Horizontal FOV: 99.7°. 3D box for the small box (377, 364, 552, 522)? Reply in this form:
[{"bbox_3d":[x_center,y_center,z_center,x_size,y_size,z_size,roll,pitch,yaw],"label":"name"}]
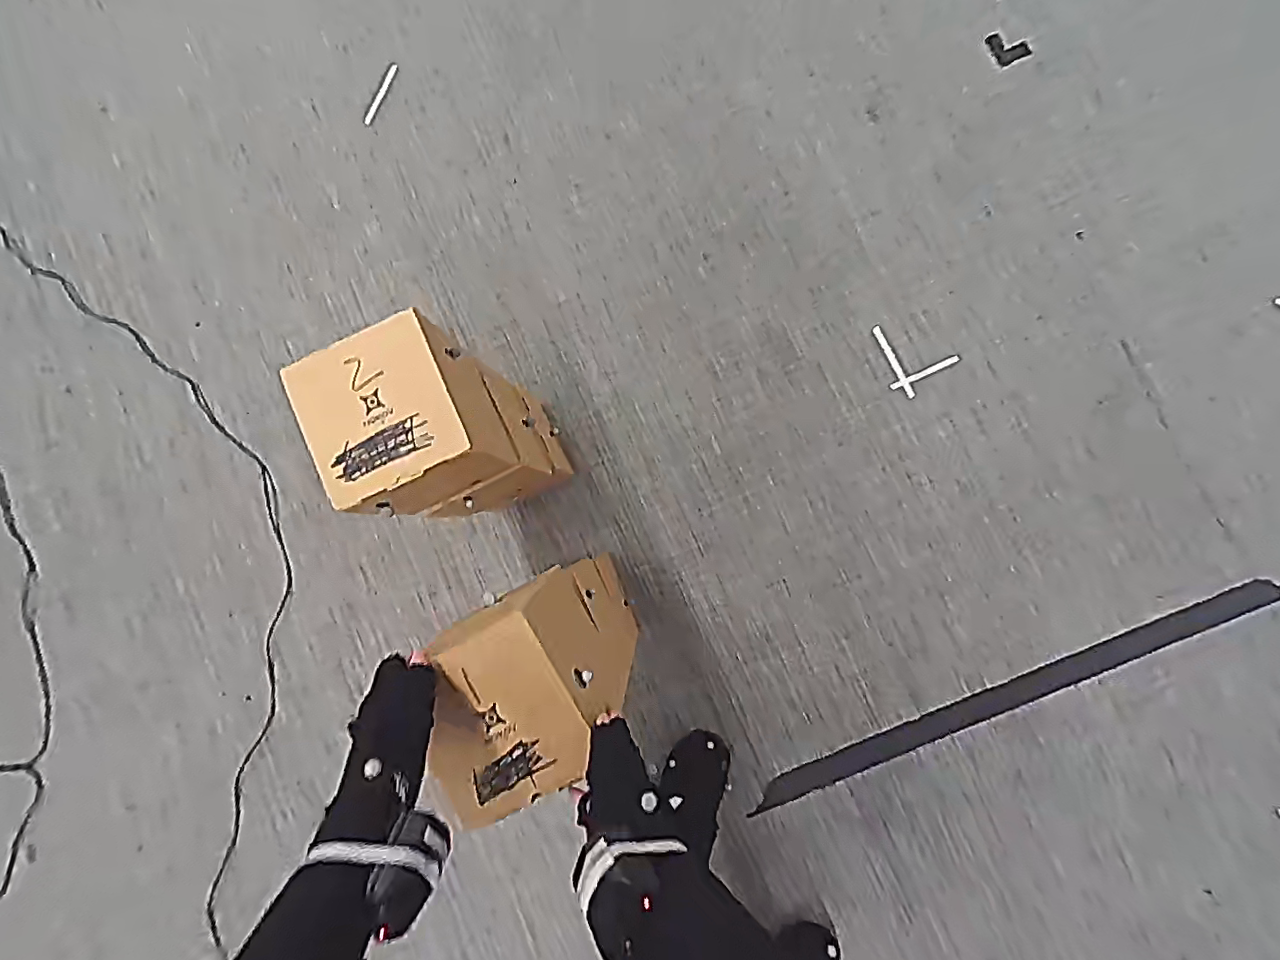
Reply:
[{"bbox_3d":[-0.255,-0.045,0.825,0.168,0.176,0.179,-26,84,2],"label":"small box"}]

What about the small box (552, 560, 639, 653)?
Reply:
[{"bbox_3d":[-0.113,0.252,0.961,0.179,0.176,0.168,-22,85,2],"label":"small box"}]

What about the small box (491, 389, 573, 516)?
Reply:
[{"bbox_3d":[-0.244,-0.039,0.990,0.179,0.176,0.168,-26,85,2],"label":"small box"}]

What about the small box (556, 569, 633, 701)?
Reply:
[{"bbox_3d":[-0.121,0.248,0.799,0.168,0.176,0.179,-26,85,2],"label":"small box"}]

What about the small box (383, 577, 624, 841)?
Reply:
[{"bbox_3d":[-0.131,0.235,0.596,0.168,0.176,0.179,-29,94,7],"label":"small box"}]
